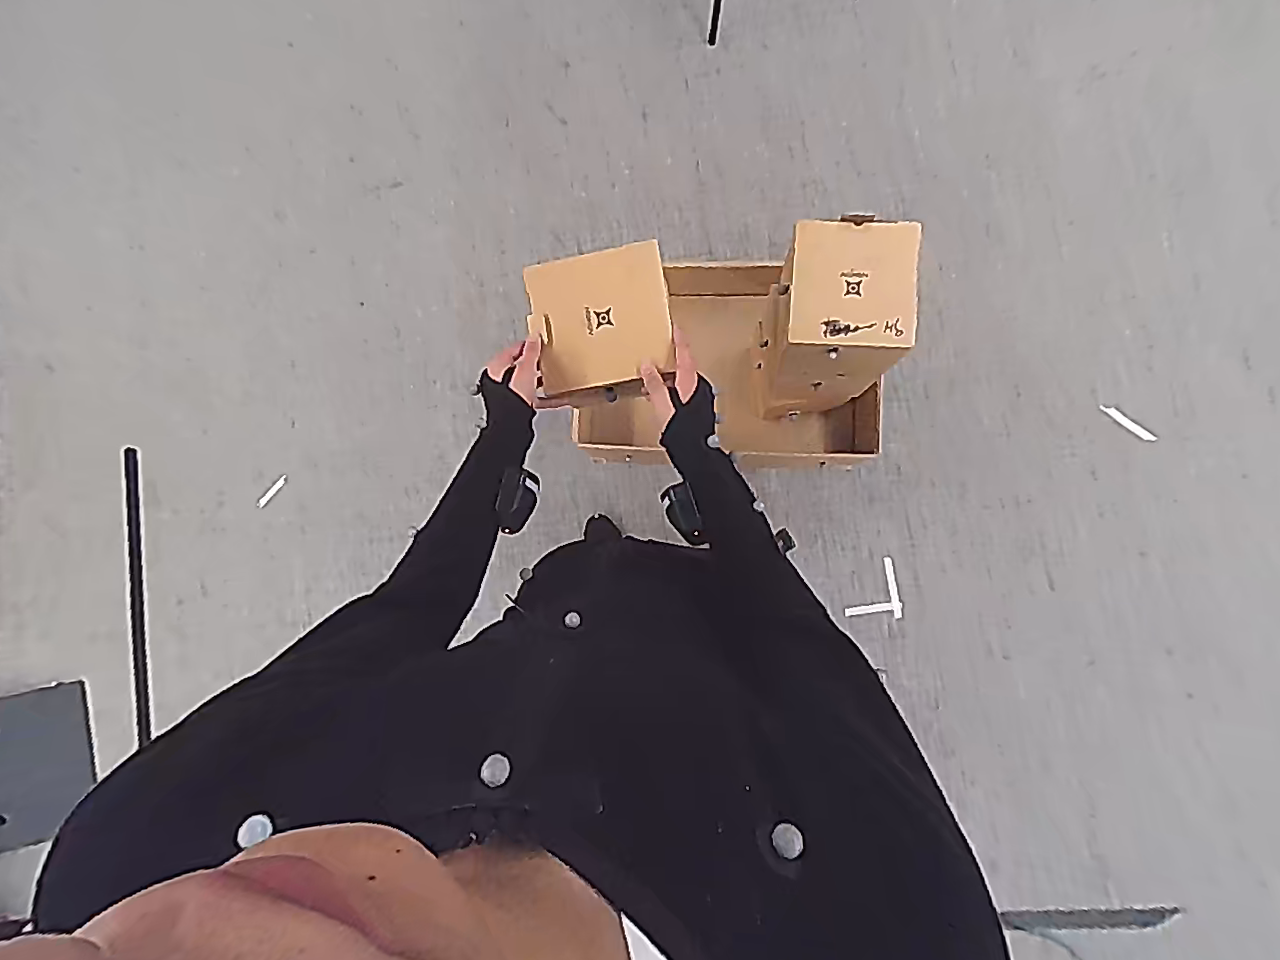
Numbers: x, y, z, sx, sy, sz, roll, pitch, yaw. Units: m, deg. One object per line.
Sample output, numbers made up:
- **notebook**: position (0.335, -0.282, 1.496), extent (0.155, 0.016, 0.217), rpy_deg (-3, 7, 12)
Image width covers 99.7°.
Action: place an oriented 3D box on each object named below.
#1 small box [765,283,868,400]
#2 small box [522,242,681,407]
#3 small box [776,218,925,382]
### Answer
- **small box**: position (0.316, -0.240, 0.956), extent (0.179, 0.176, 0.168), rpy_deg (-1, 86, 7)
- **small box**: position (-0.041, -0.199, 0.741), extent (0.179, 0.176, 0.168), rpy_deg (-9, 91, 9)
- **small box**: position (0.297, -0.255, 0.793), extent (0.168, 0.176, 0.179), rpy_deg (5, 86, 8)
